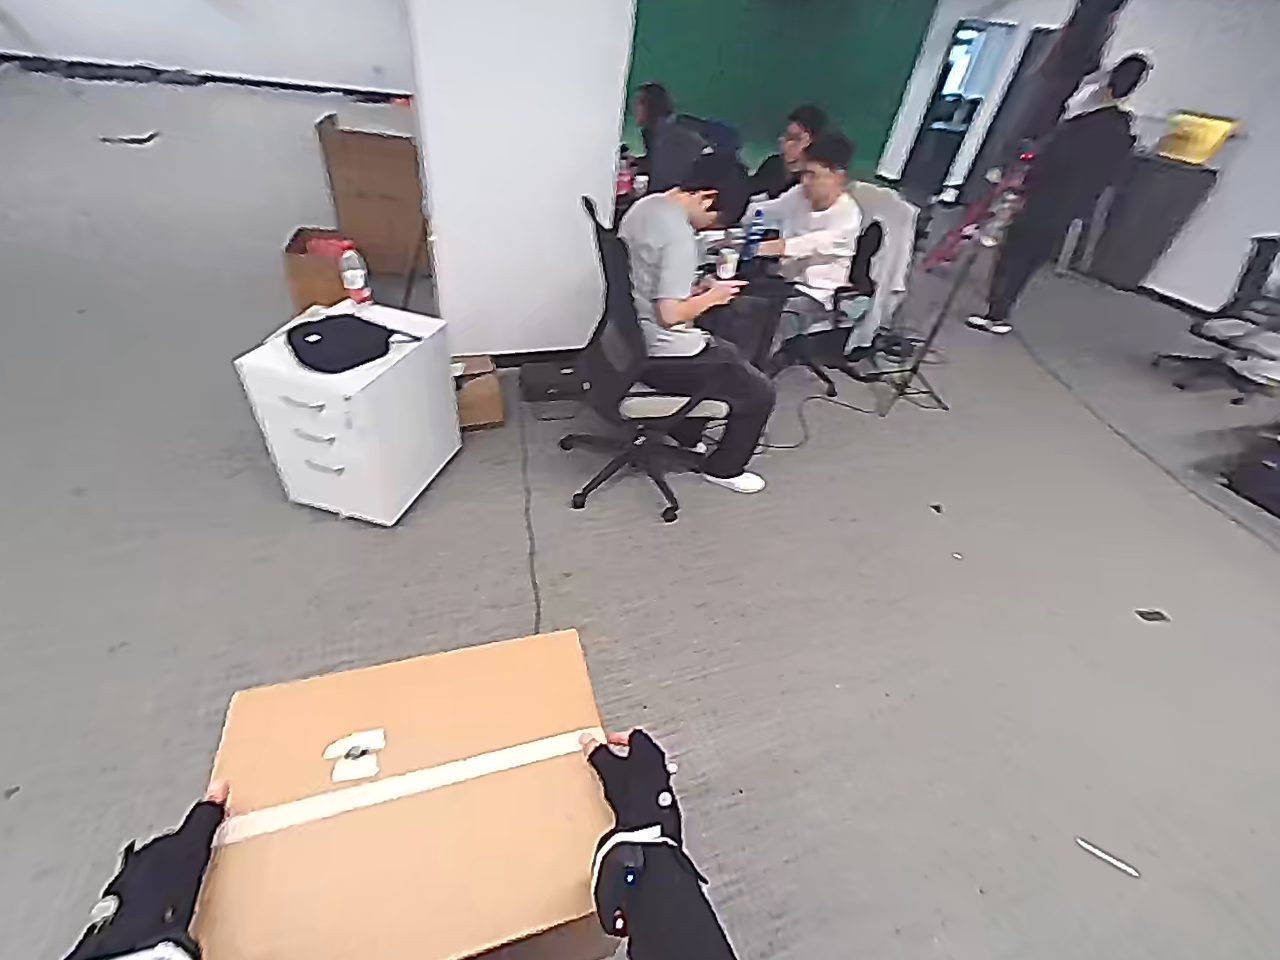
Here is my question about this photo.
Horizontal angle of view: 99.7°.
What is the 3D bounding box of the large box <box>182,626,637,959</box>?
[{"bbox_3d":[-0.247,0.434,0.685,0.408,0.320,0.320,-7,42,-16],"label":"large box"}]
